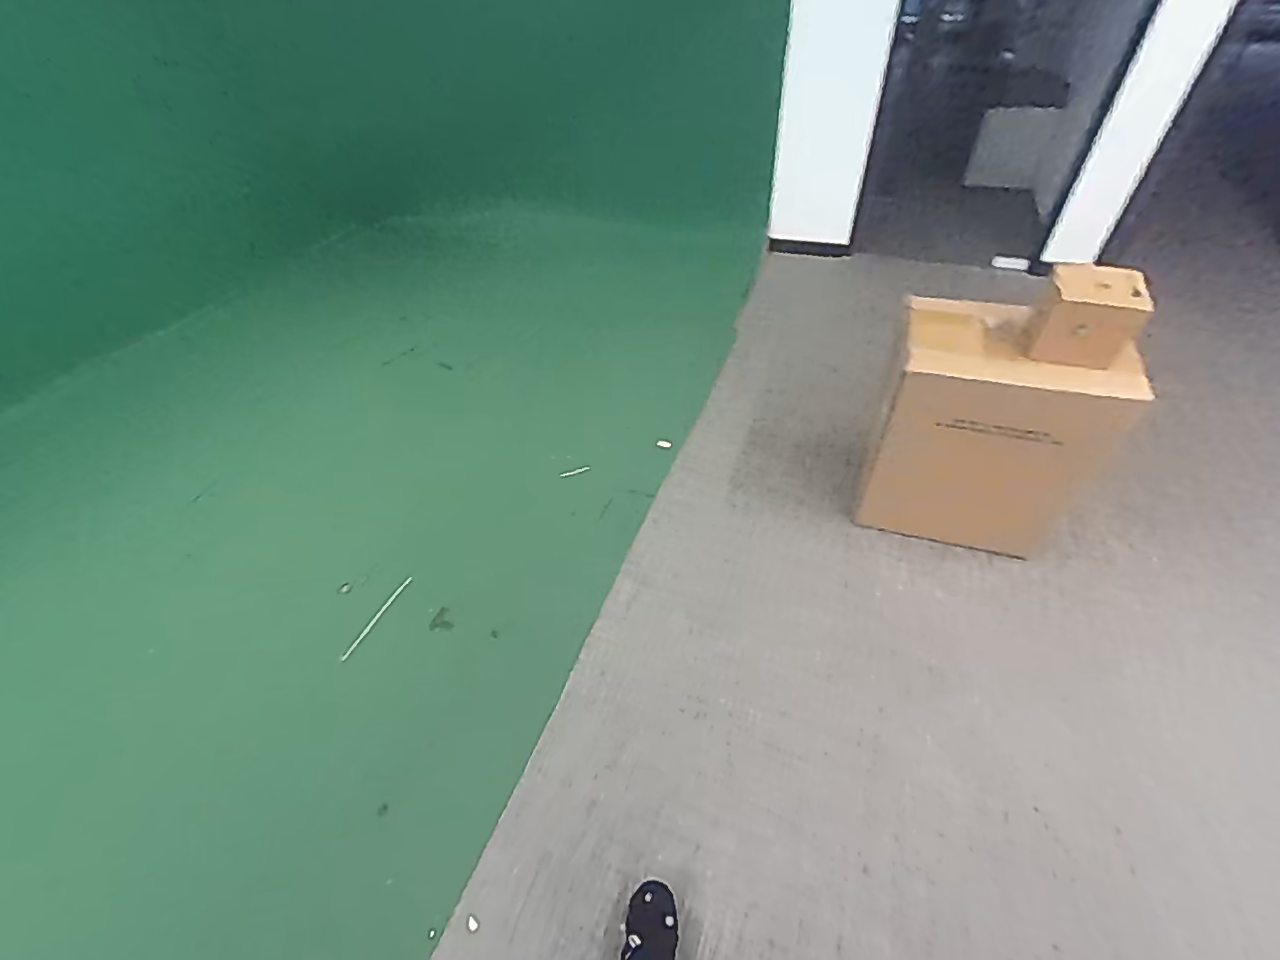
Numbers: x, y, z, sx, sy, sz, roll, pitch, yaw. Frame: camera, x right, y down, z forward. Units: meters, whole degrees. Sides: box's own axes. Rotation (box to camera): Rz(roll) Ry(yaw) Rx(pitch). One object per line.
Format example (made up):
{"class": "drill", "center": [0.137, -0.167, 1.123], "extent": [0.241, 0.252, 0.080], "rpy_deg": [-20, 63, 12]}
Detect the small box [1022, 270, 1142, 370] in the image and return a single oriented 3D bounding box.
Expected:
{"class": "small box", "center": [1.067, -0.392, 1.327], "extent": [0.179, 0.176, 0.168], "rpy_deg": [13, 54, 17]}
